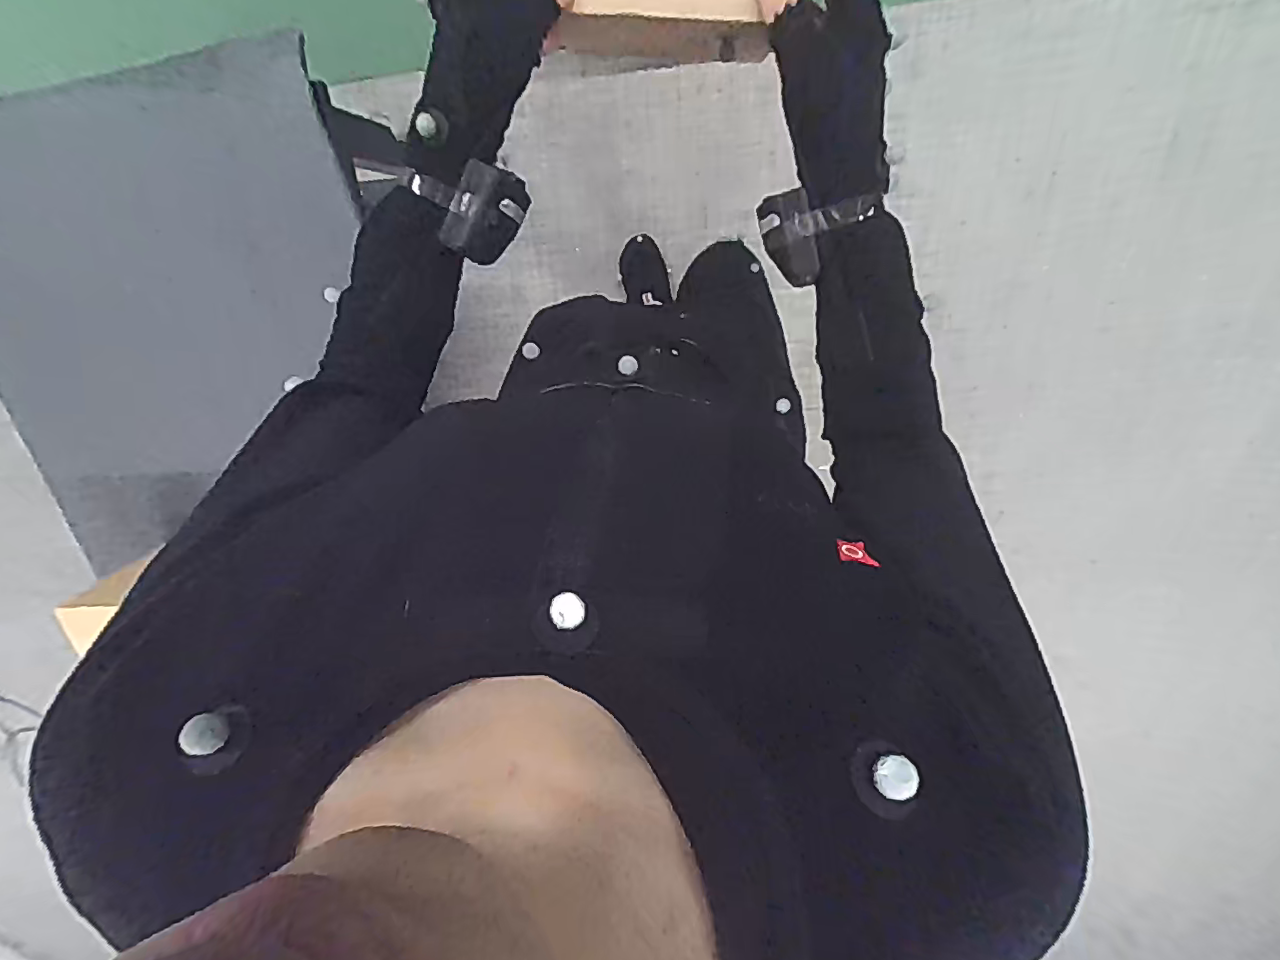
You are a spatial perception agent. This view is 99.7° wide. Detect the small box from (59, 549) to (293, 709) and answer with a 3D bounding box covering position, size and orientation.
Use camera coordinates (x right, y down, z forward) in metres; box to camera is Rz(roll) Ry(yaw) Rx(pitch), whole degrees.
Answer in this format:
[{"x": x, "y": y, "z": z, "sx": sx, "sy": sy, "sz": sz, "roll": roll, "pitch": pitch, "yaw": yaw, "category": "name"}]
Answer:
[{"x": -0.671, "y": 0.213, "z": 0.807, "sx": 0.168, "sy": 0.176, "sz": 0.179, "roll": -3, "pitch": 113, "yaw": 8, "category": "small box"}]
